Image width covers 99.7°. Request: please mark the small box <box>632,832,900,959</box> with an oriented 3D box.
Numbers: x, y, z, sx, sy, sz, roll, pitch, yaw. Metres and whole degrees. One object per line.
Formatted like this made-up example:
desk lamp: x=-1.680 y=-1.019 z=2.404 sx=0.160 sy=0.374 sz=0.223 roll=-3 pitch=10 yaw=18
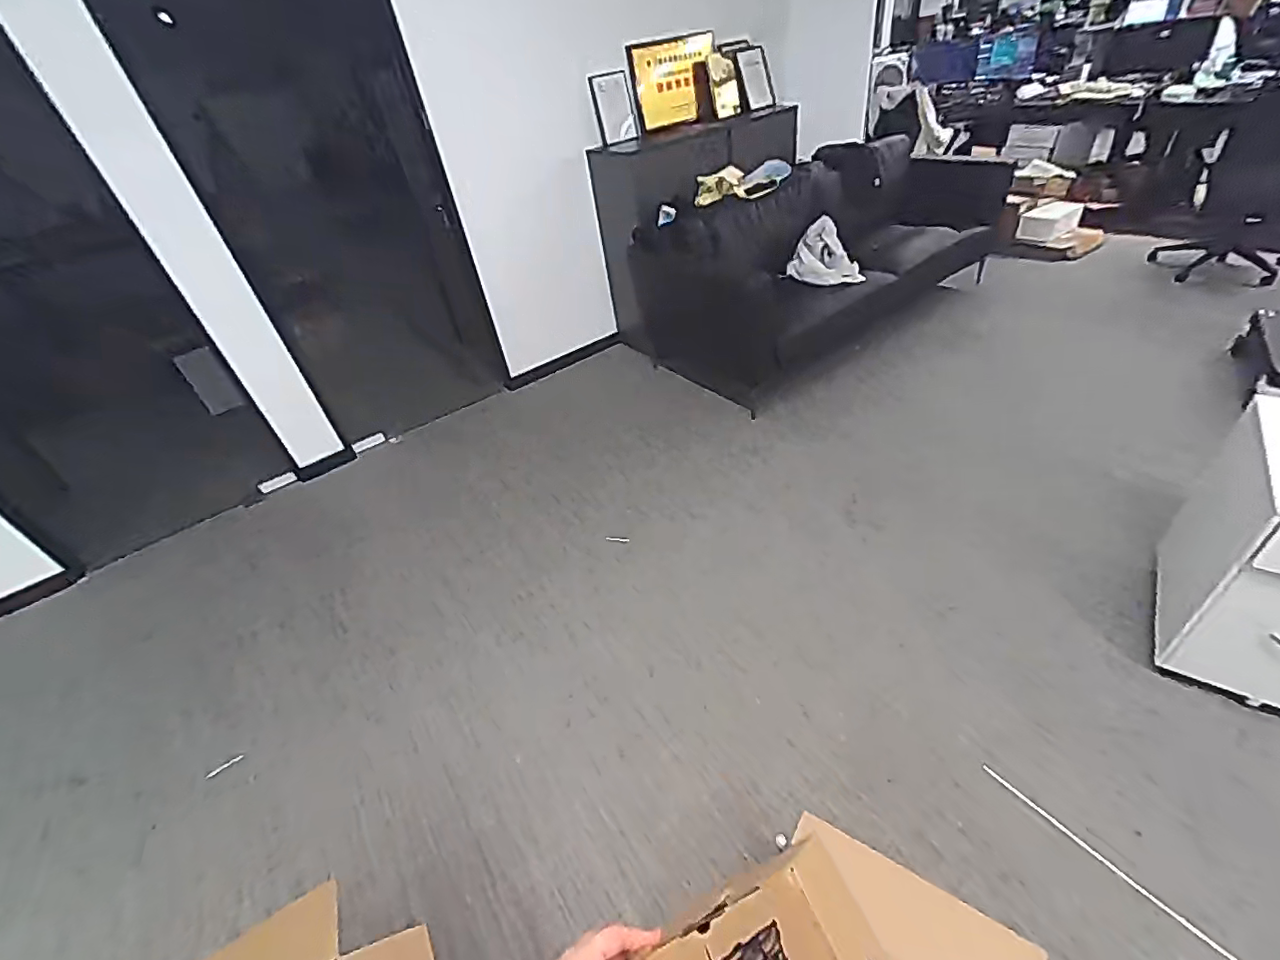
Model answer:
small box: x=0.125 y=0.427 z=0.456 sx=0.168 sy=0.176 sz=0.179 roll=-36 pitch=58 yaw=7
